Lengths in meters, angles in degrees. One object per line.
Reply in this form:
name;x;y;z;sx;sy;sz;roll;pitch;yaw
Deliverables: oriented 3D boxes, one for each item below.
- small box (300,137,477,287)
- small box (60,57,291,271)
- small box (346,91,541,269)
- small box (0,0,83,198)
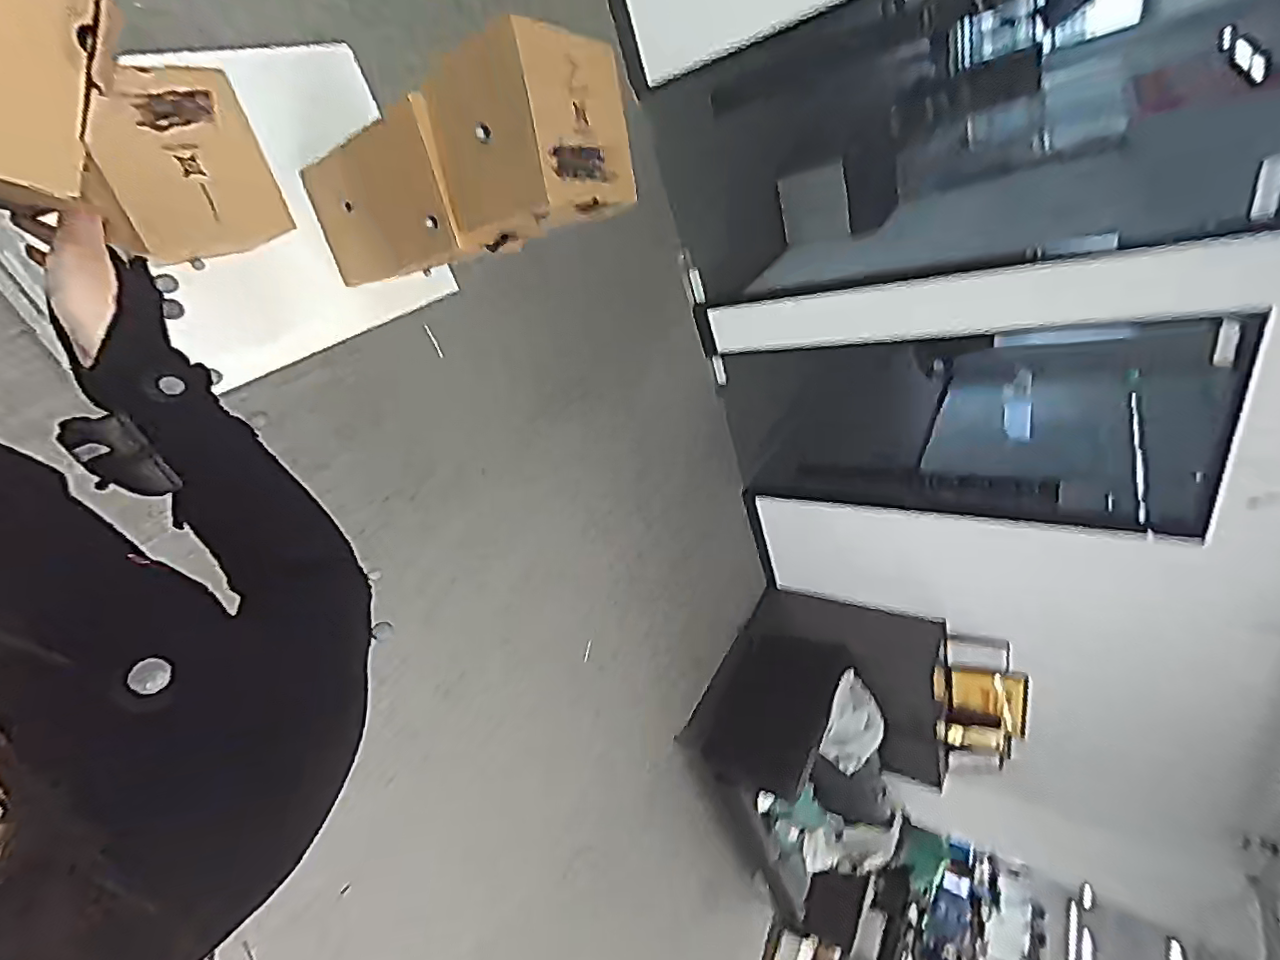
small box;-0.400;-0.423;0.864;0.168;0.176;0.179;-37;122;-43
small box;-0.571;-0.365;0.644;0.168;0.176;0.179;-40;126;-44
small box;-0.274;-0.413;0.761;0.168;0.176;0.179;-38;124;-43
small box;-0.400;-0.251;0.251;0.179;0.176;0.168;3;100;-54
